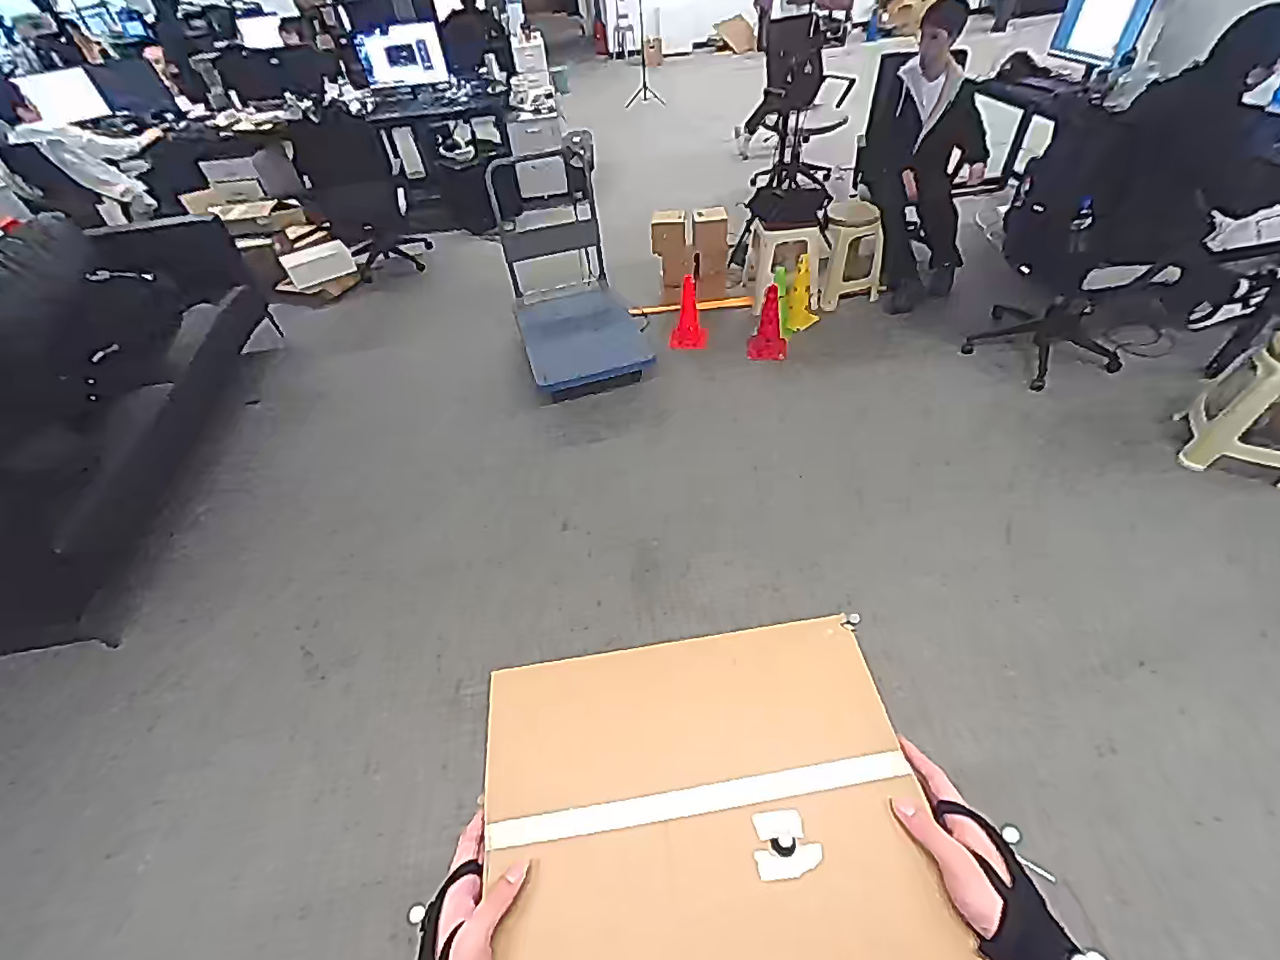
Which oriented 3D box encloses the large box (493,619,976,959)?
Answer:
[{"bbox_3d":[0.065,0.403,0.634,0.408,0.320,0.320,-8,50,-3],"label":"large box"}]
